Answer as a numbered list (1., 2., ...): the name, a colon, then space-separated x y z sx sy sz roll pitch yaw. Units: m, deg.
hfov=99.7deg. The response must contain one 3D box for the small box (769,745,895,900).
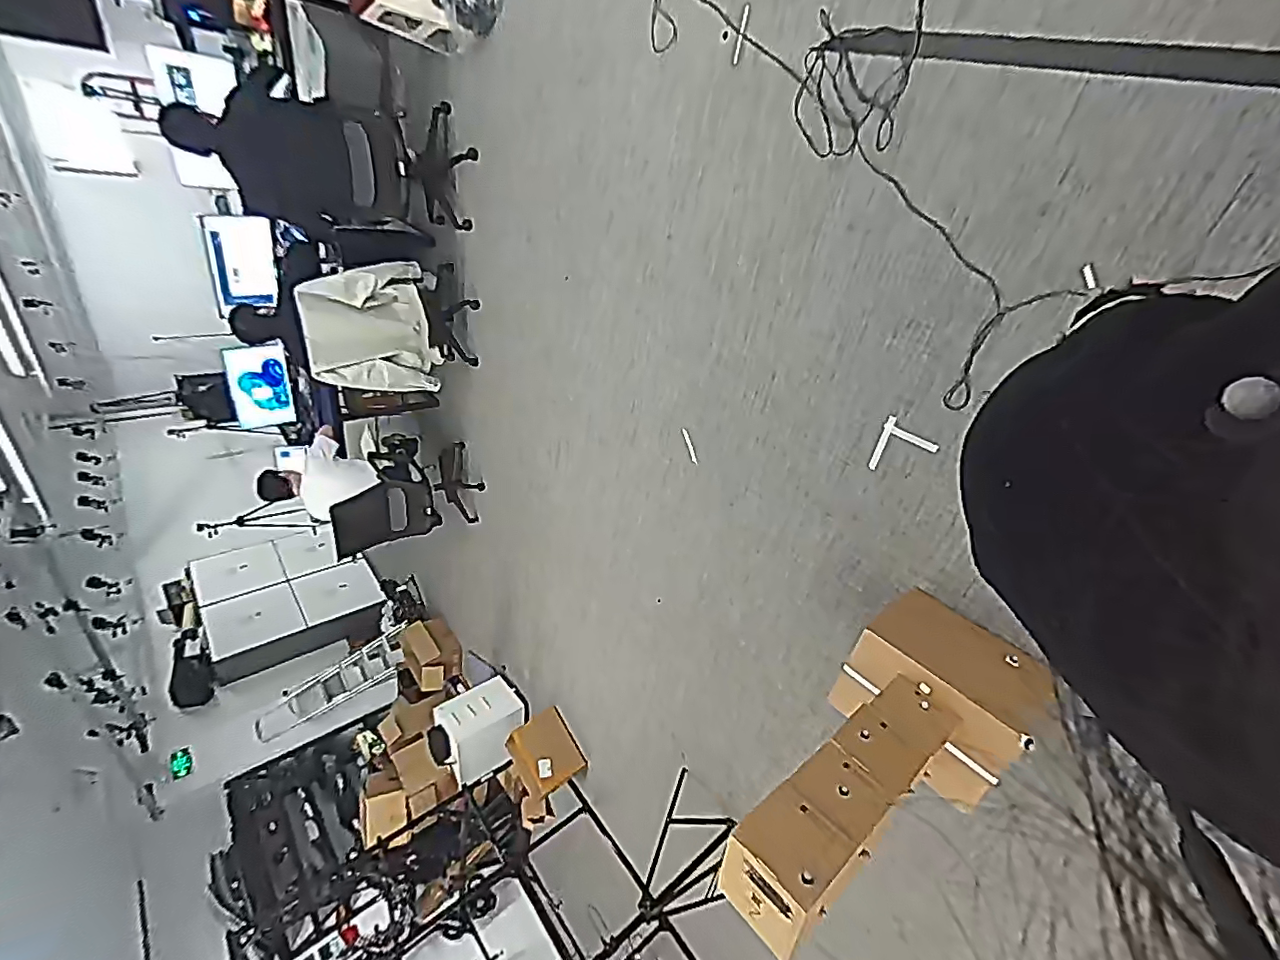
1. small box: 0.398 0.693 1.116 0.168 0.176 0.179 31 126 42

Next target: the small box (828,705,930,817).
1. small box: 0.520 0.649 1.218 0.168 0.176 0.179 35 130 39

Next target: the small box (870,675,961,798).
1. small box: 0.644 0.617 1.317 0.168 0.176 0.179 36 129 37
